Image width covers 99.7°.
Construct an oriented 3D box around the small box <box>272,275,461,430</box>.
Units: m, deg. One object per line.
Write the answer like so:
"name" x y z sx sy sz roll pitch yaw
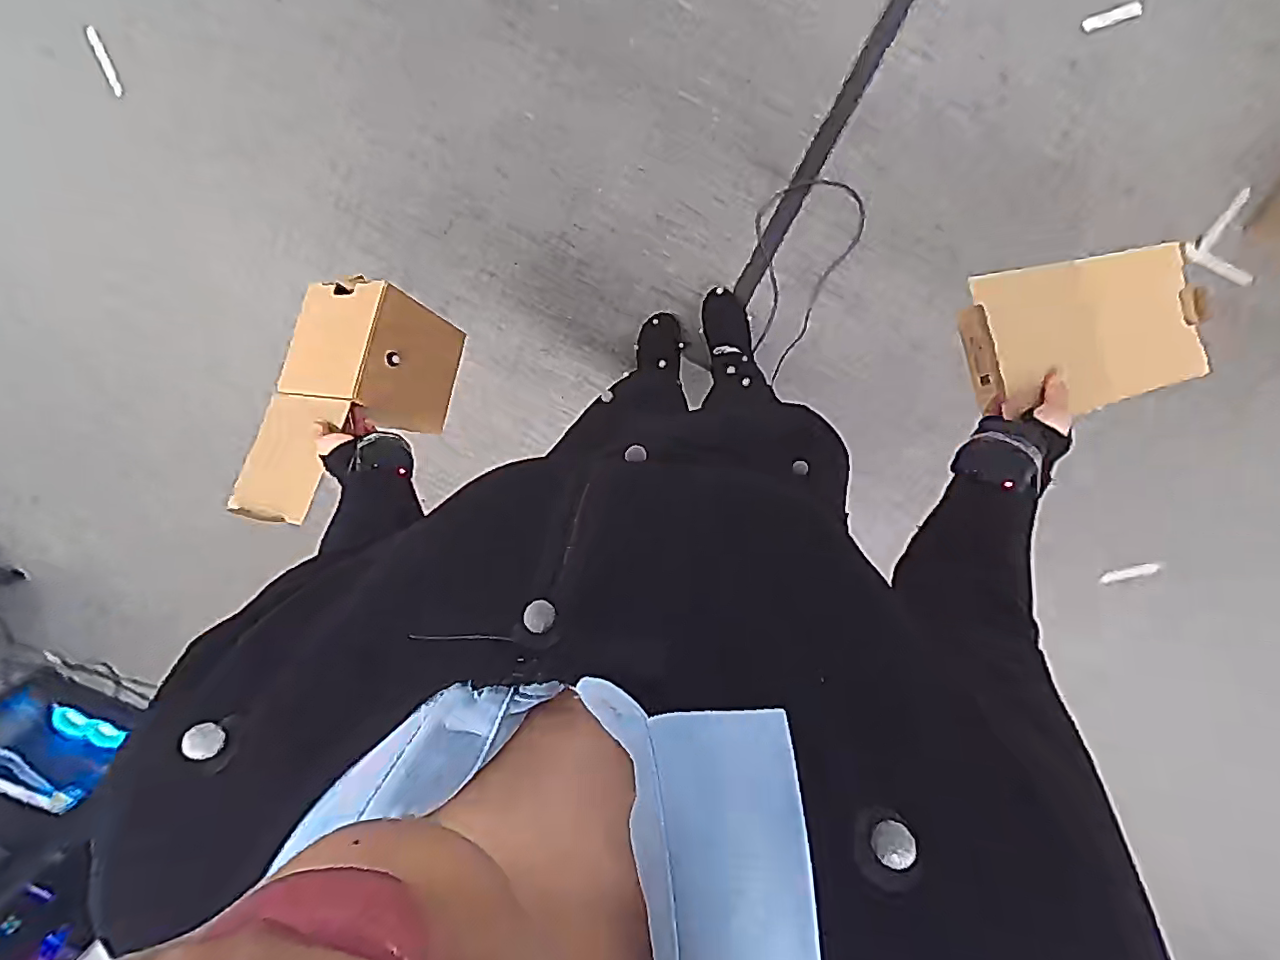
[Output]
"small box" -0.402 -0.186 0.819 0.168 0.176 0.179 10 81 23
